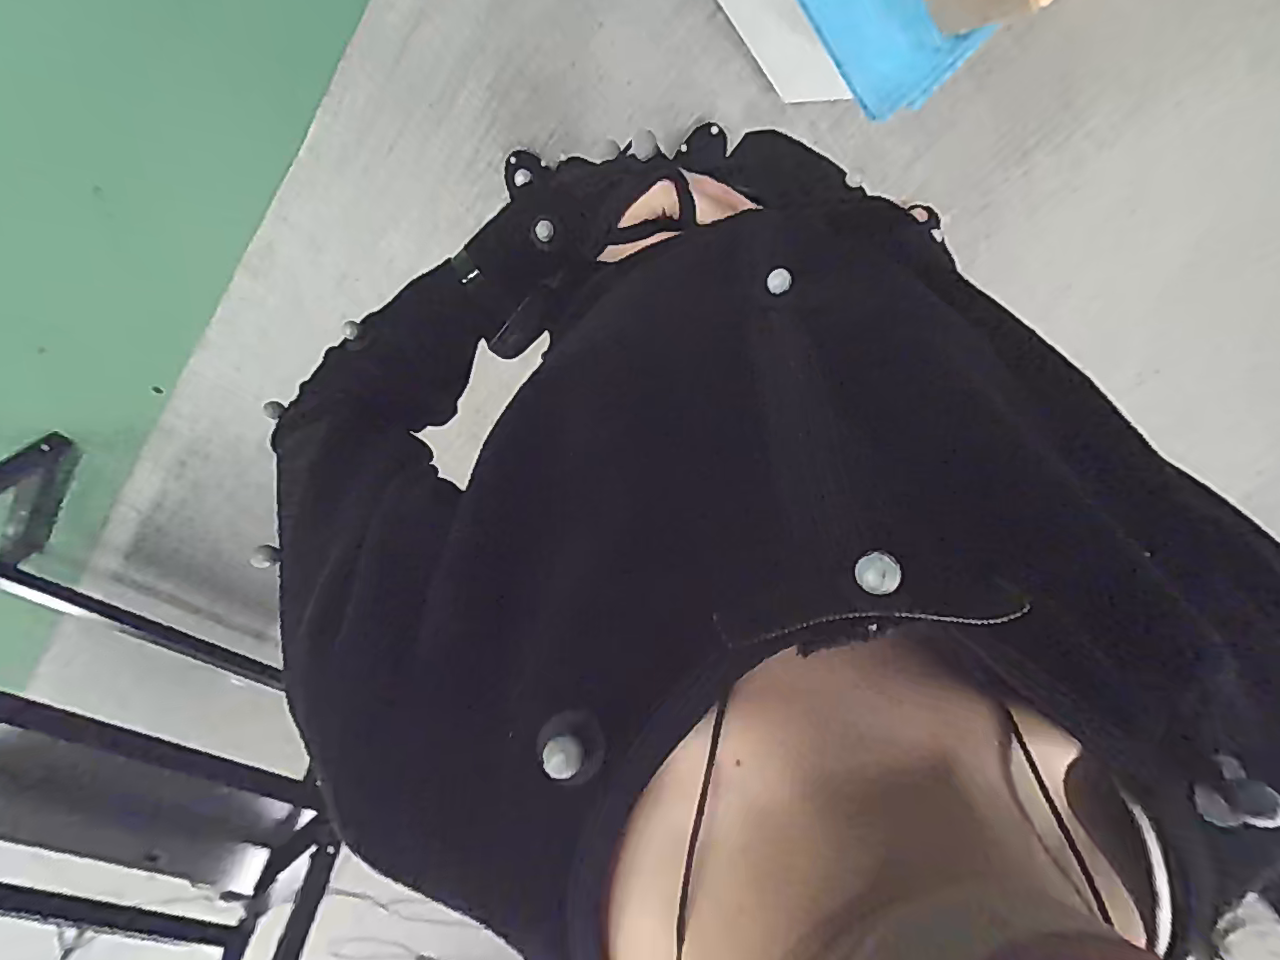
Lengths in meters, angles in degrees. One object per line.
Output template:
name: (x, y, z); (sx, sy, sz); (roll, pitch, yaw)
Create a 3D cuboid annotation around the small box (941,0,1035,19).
small box: (0.368, -0.578, 0.496); (0.179, 0.176, 0.168); (-40, 117, 21)
